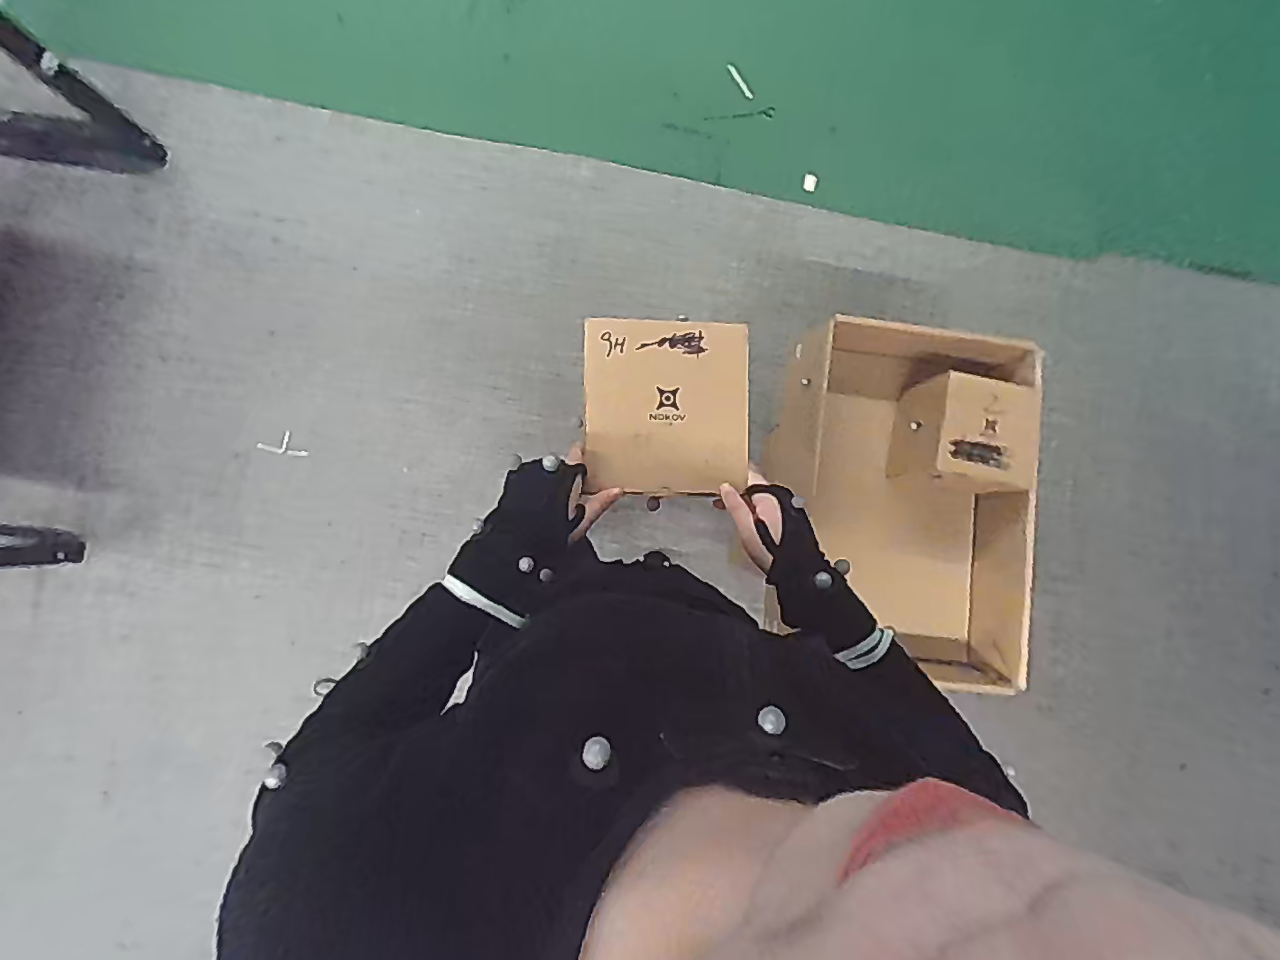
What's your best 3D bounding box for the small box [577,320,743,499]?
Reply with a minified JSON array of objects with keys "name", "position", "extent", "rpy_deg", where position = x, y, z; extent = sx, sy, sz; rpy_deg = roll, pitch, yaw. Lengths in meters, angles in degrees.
[{"name":"small box","position":[0.015,-0.069,0.615],"extent":[0.168,0.176,0.179],"rpy_deg":[0,89,-6]}]
